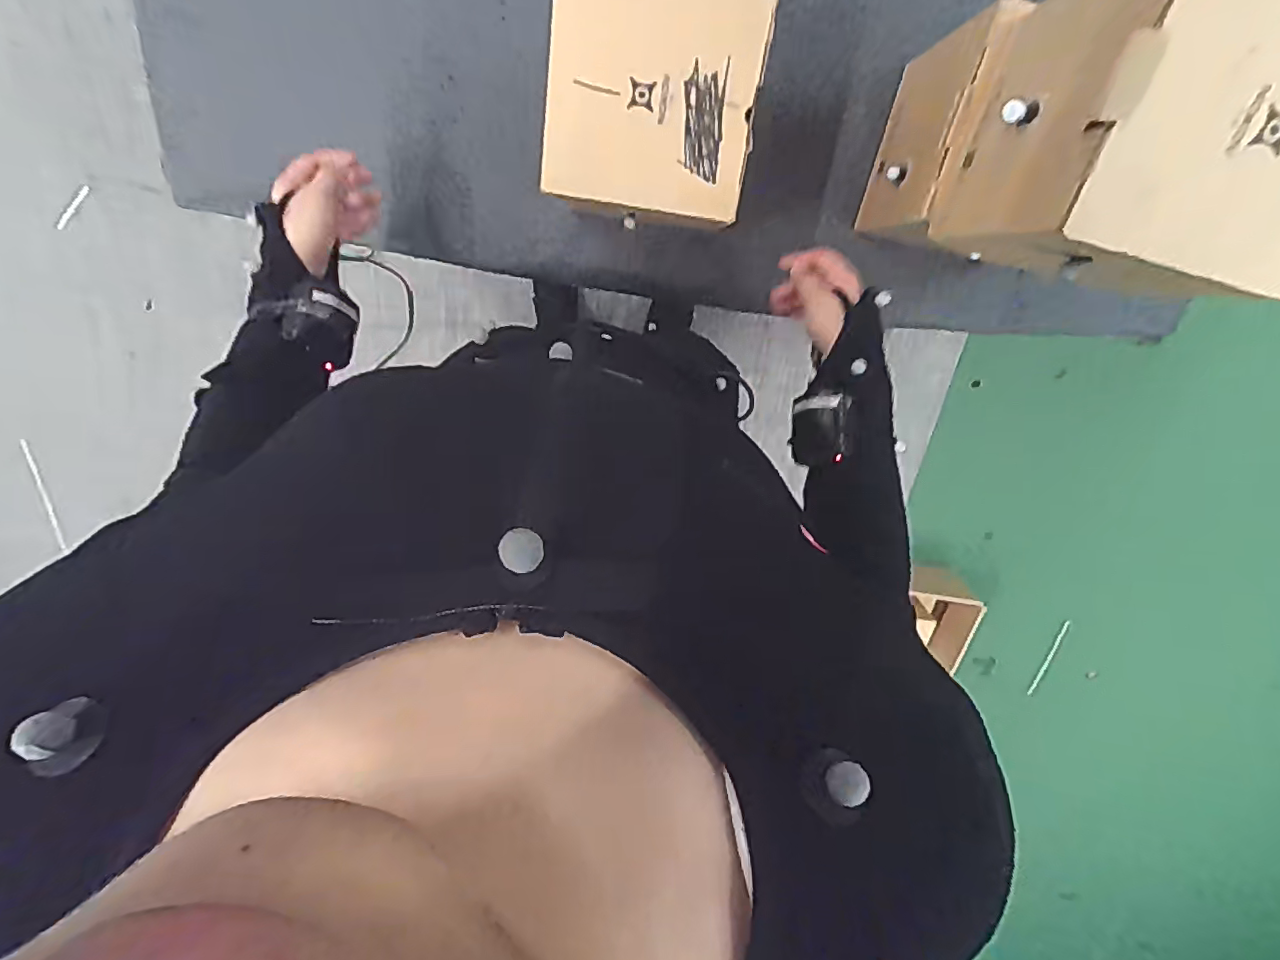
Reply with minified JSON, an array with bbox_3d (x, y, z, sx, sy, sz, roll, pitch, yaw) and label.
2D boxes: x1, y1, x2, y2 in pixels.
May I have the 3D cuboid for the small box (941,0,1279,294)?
[{"bbox_3d":[0.356,-0.238,0.378,0.179,0.176,0.168,13,113,-5],"label":"small box"}]

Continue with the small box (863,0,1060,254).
[{"bbox_3d":[0.347,-0.319,0.521,0.179,0.176,0.168,10,113,-5],"label":"small box"}]

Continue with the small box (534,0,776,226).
[{"bbox_3d":[0.008,-0.343,0.509,0.179,0.176,0.168,8,111,-2],"label":"small box"}]
